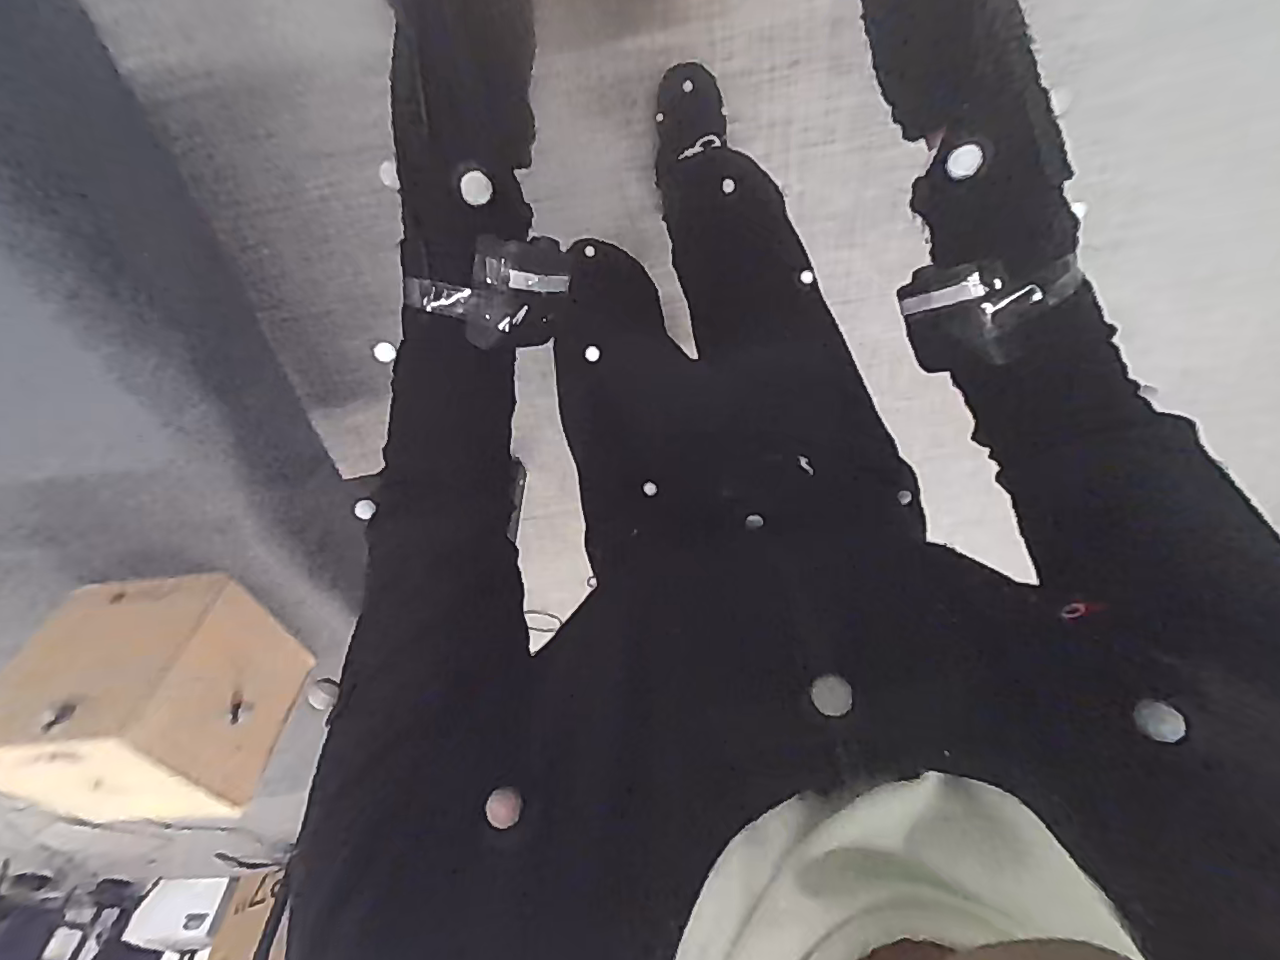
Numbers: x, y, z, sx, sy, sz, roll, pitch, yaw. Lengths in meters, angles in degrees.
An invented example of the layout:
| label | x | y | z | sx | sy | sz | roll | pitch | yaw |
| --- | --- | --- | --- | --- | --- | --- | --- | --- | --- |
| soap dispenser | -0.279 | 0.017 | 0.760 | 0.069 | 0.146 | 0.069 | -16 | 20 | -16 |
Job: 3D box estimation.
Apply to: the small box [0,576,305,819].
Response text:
| label | x | y | z | sx | sy | sz | roll | pitch | yaw |
| --- | --- | --- | --- | --- | --- | --- | --- | --- | --- |
| small box | -0.482 | 0.217 | 0.540 | 0.168 | 0.176 | 0.179 | -5 | 132 | 4 |
